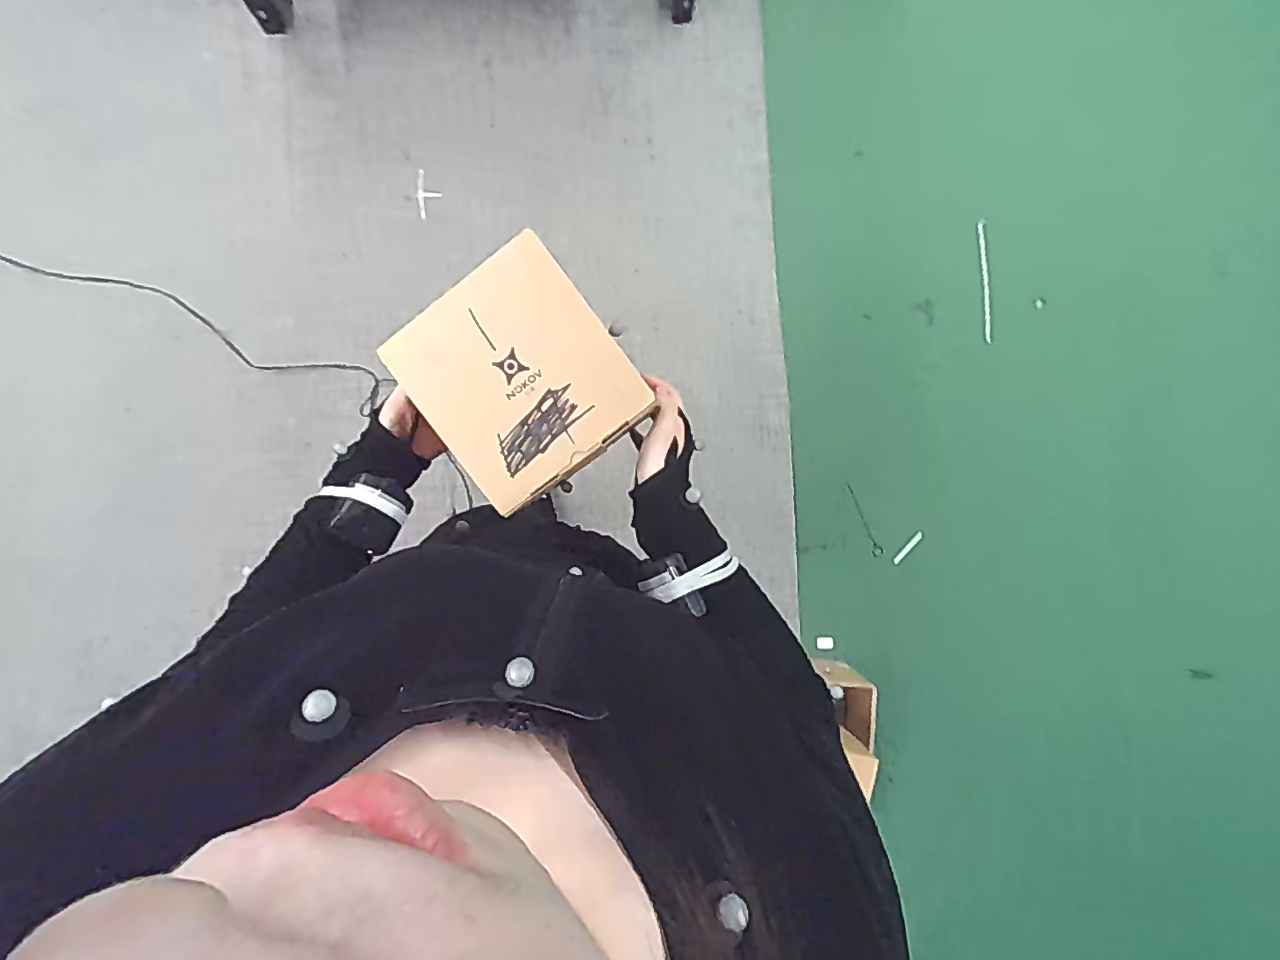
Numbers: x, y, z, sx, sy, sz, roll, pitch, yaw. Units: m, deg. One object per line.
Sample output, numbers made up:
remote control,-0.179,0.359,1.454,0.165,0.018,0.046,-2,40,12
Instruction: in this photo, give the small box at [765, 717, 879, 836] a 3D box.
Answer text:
small box,0.412,0.672,1.247,0.179,0.176,0.168,15,87,-2
